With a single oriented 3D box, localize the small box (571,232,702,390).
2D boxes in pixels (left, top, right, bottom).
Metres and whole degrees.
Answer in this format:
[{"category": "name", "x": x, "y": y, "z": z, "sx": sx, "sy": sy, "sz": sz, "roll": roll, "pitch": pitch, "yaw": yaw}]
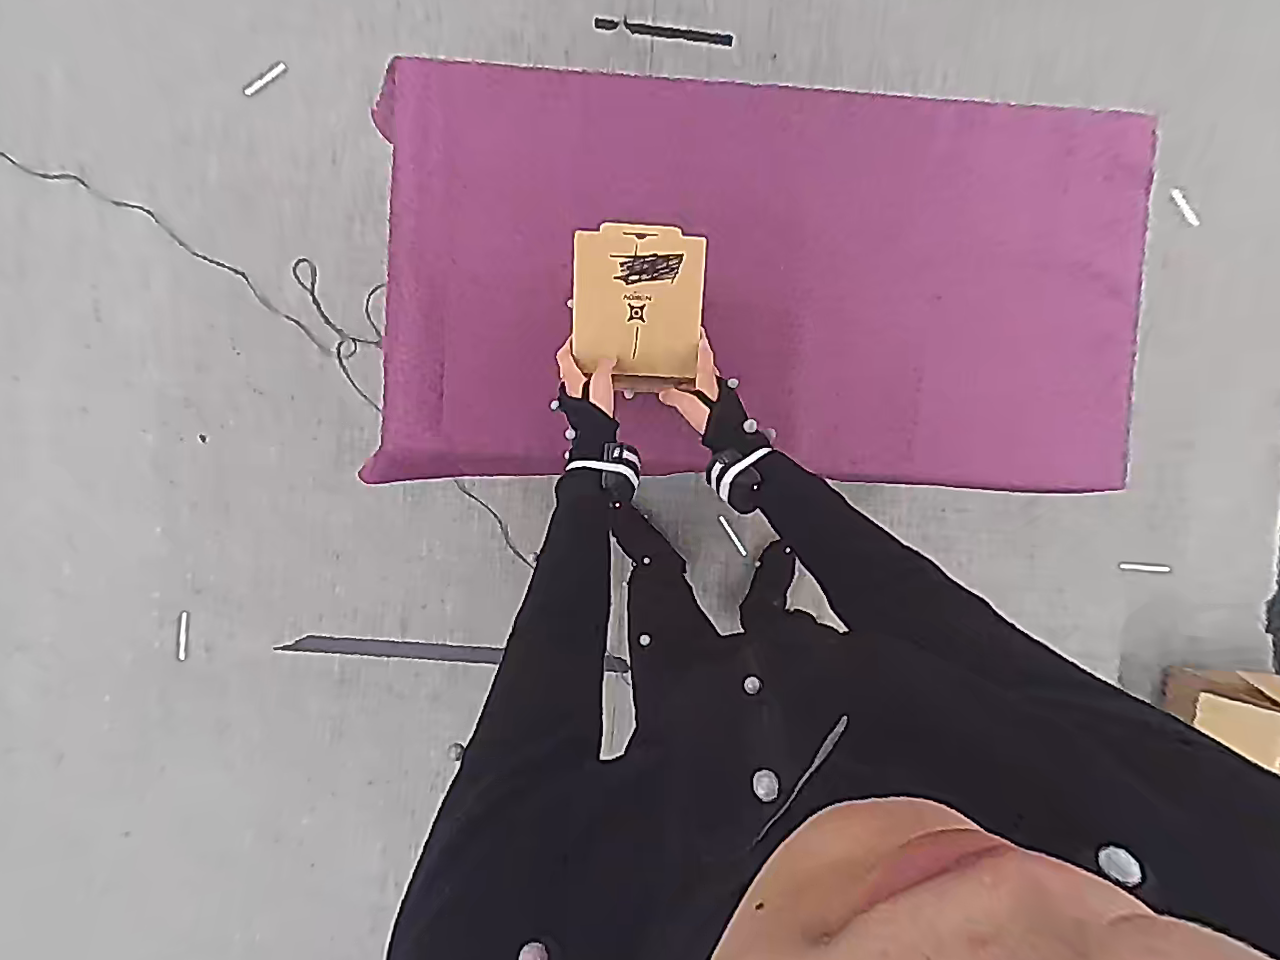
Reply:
[{"category": "small box", "x": -0.008, "y": -0.231, "z": 0.778, "sx": 0.168, "sy": 0.176, "sz": 0.179, "roll": 2, "pitch": 93, "yaw": -2}]
